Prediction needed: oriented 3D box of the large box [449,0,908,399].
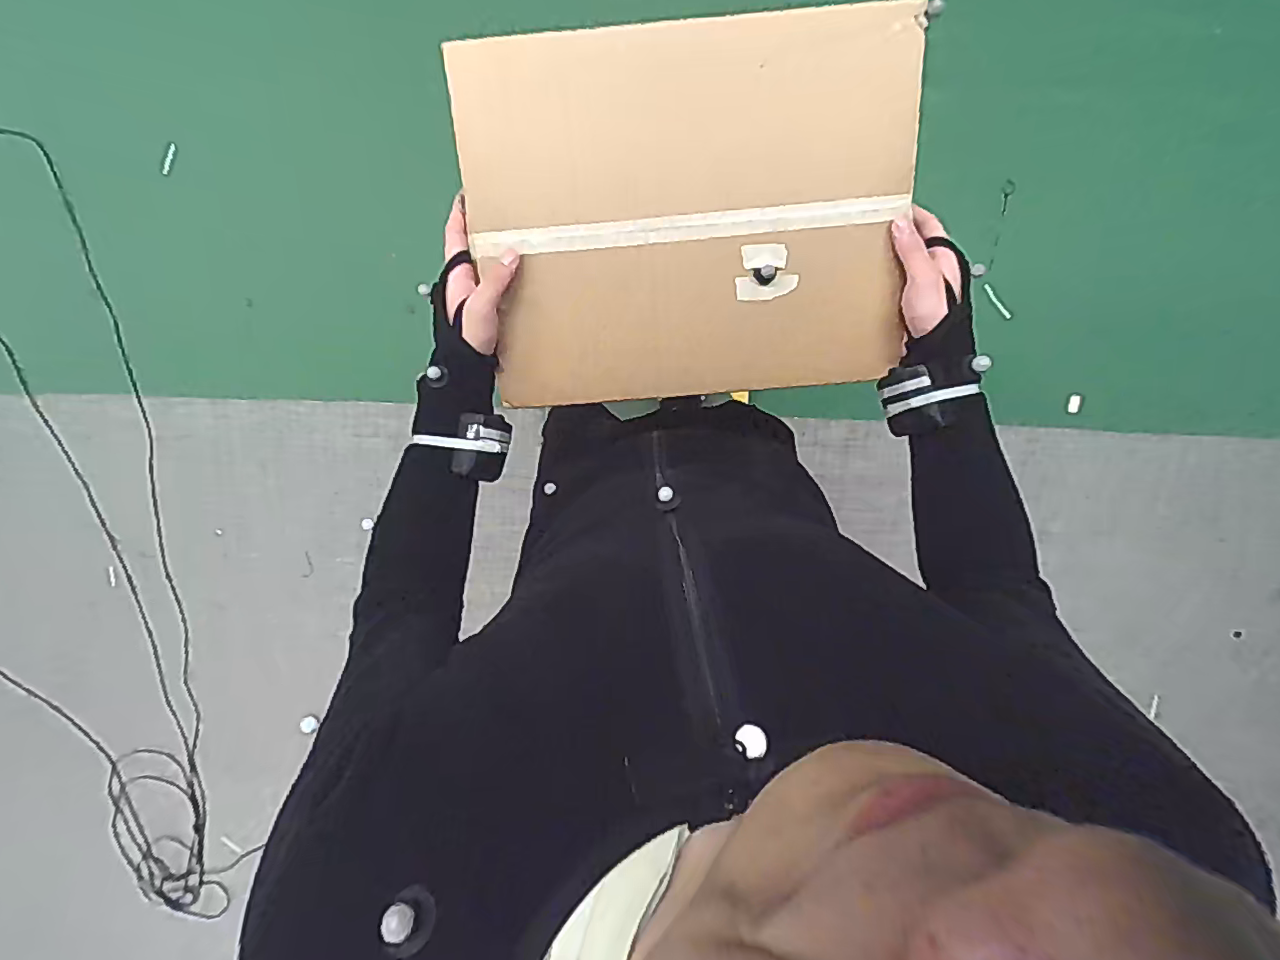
[{"bbox_3d":[0.041,-0.293,0.649,0.408,0.320,0.320,-5,109,0],"label":"large box"}]
